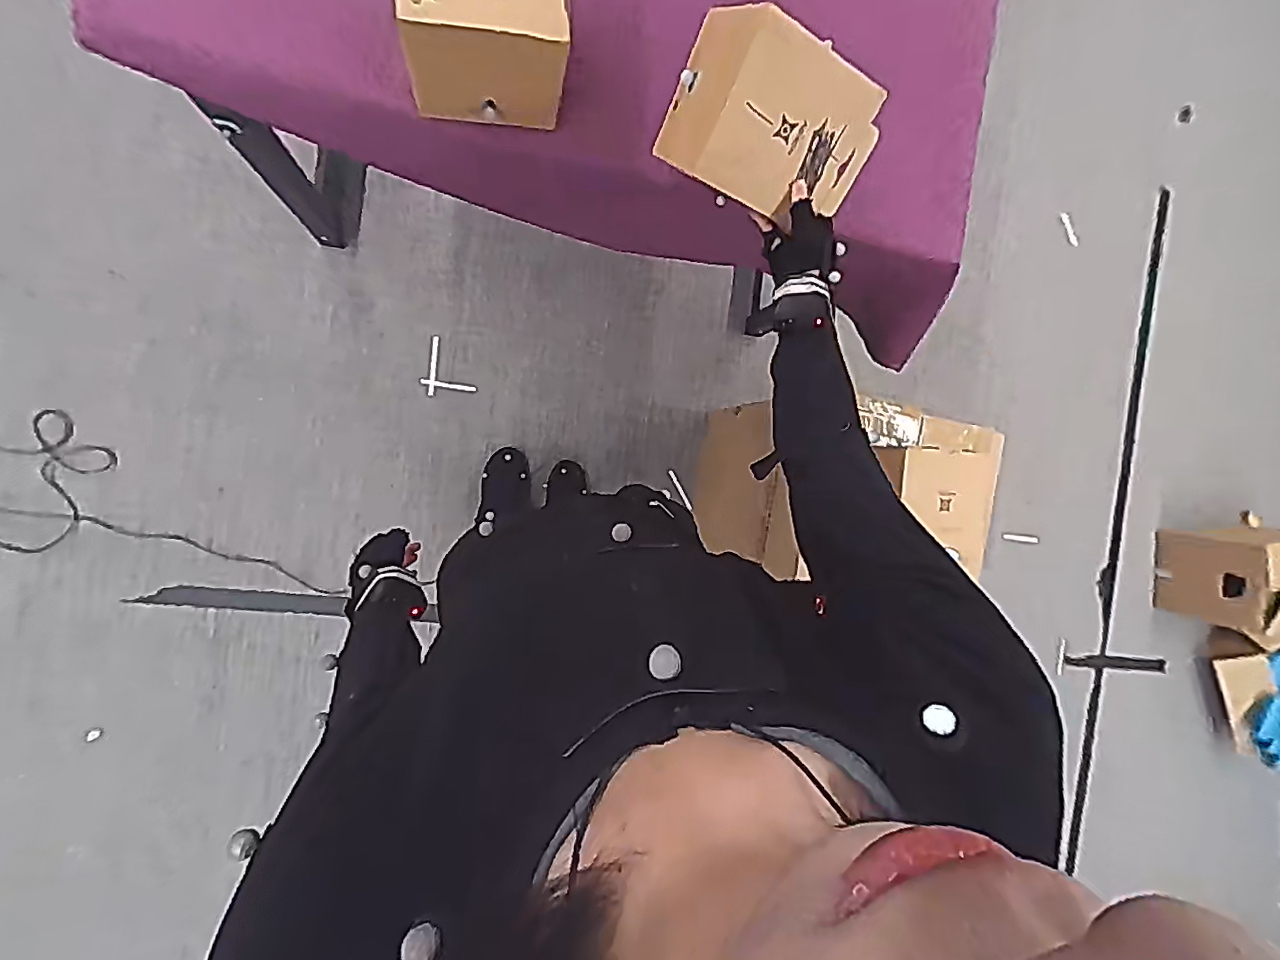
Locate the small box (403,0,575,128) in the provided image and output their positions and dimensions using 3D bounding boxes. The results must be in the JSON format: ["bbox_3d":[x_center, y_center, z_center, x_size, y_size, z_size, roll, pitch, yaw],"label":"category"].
[{"bbox_3d":[-0.179,-0.551,0.639,0.179,0.176,0.168,-3,93,-15],"label":"small box"}]

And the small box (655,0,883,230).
[{"bbox_3d":[0.144,-0.438,0.662,0.179,0.176,0.168,13,121,-26],"label":"small box"}]

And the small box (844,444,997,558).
[{"bbox_3d":[0.475,0.031,0.938,0.168,0.176,0.179,3,93,-12],"label":"small box"}]
